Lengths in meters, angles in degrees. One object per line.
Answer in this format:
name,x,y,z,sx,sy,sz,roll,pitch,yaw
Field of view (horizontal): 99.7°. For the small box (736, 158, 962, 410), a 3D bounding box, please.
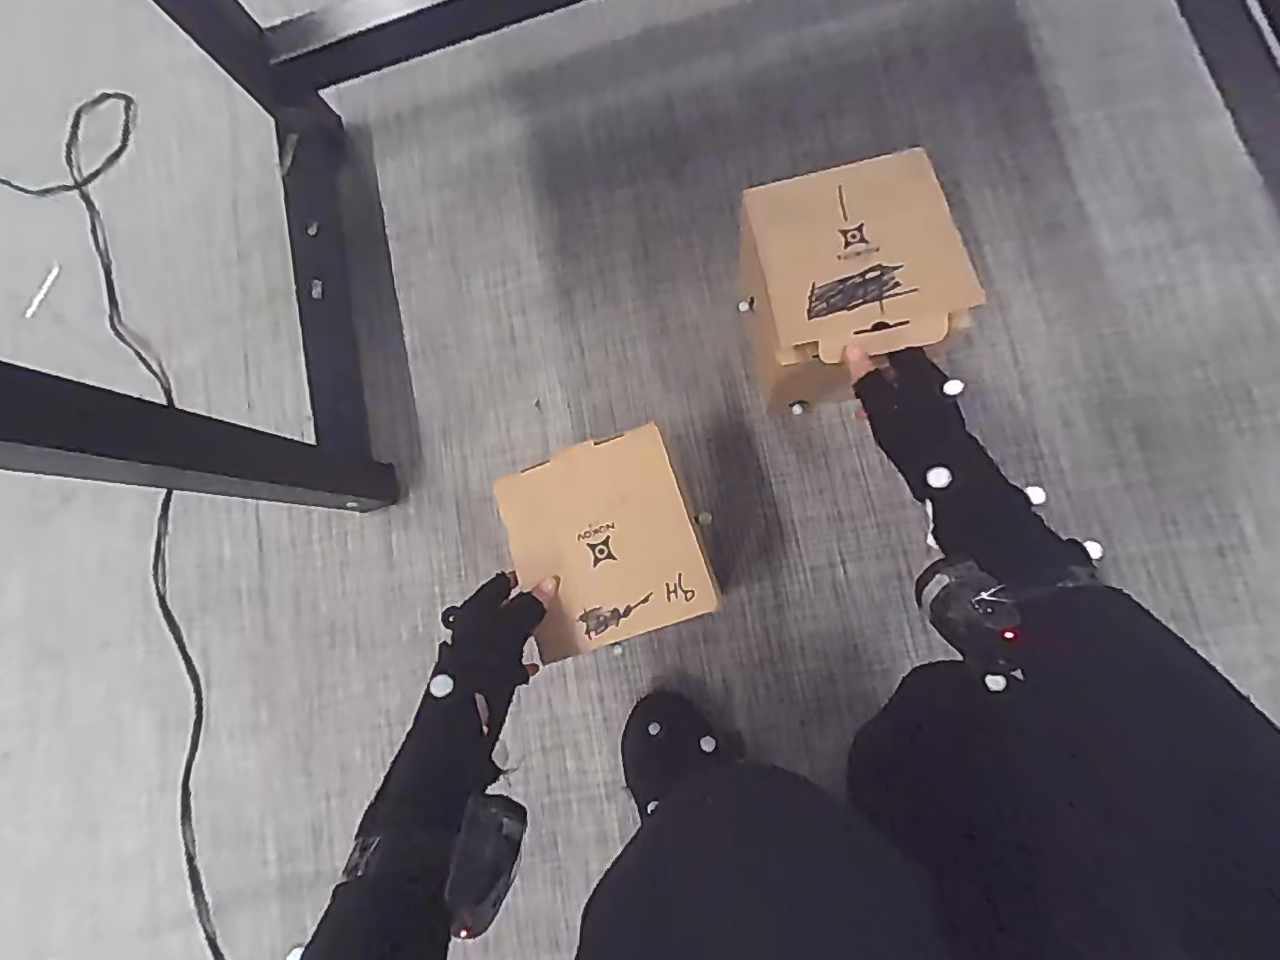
small box,0.197,-0.181,0.561,0.168,0.176,0.179,-10,79,8
